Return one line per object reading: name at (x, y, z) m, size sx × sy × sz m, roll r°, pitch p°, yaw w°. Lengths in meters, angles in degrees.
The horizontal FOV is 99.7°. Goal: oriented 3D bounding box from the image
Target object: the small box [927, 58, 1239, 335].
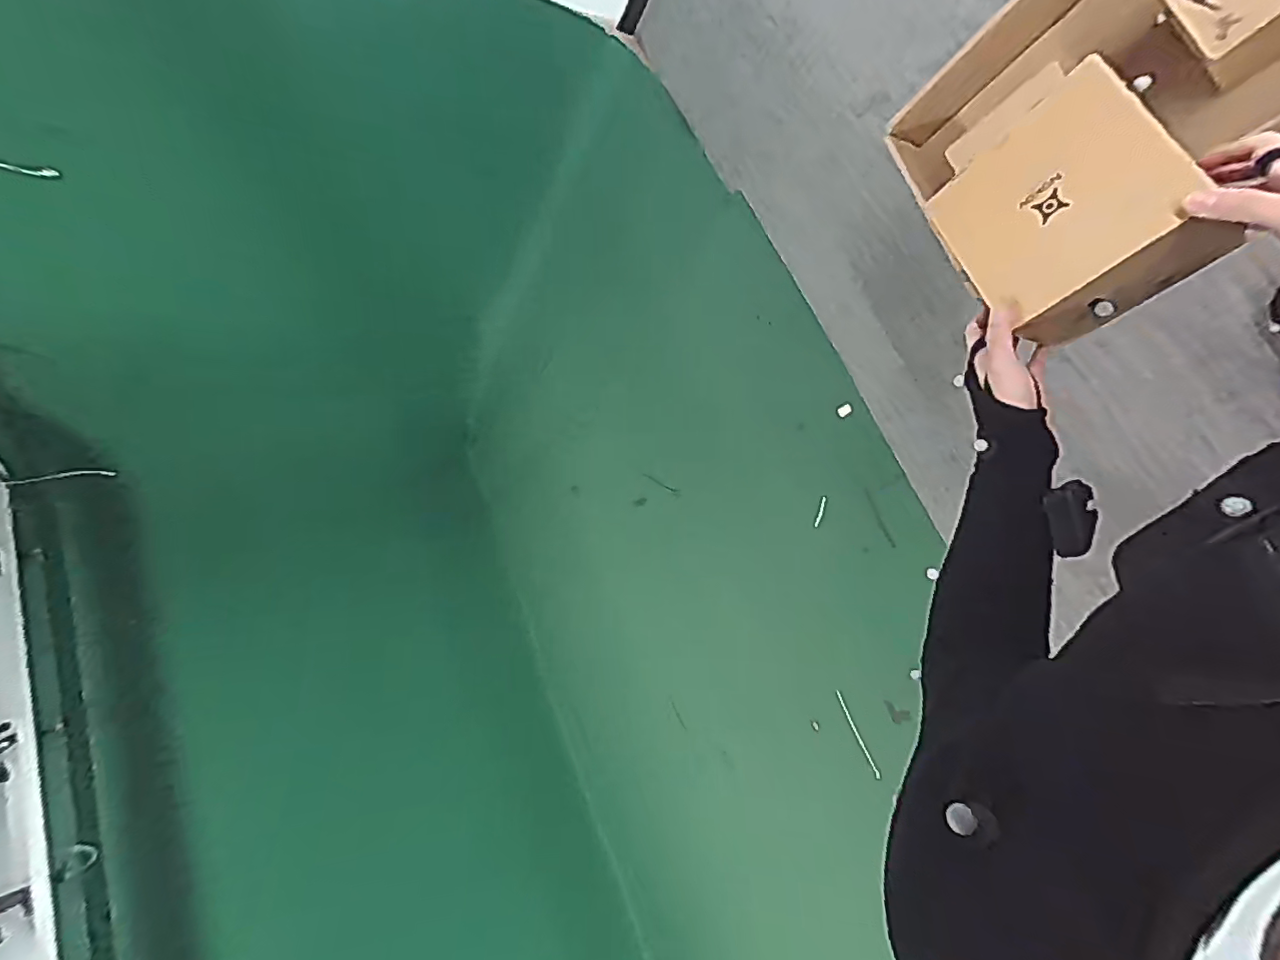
small box at (0.444, -0.264, 0.550) m, size 0.168 × 0.176 × 0.179 m, roll -42°, pitch 60°, yaw 46°
